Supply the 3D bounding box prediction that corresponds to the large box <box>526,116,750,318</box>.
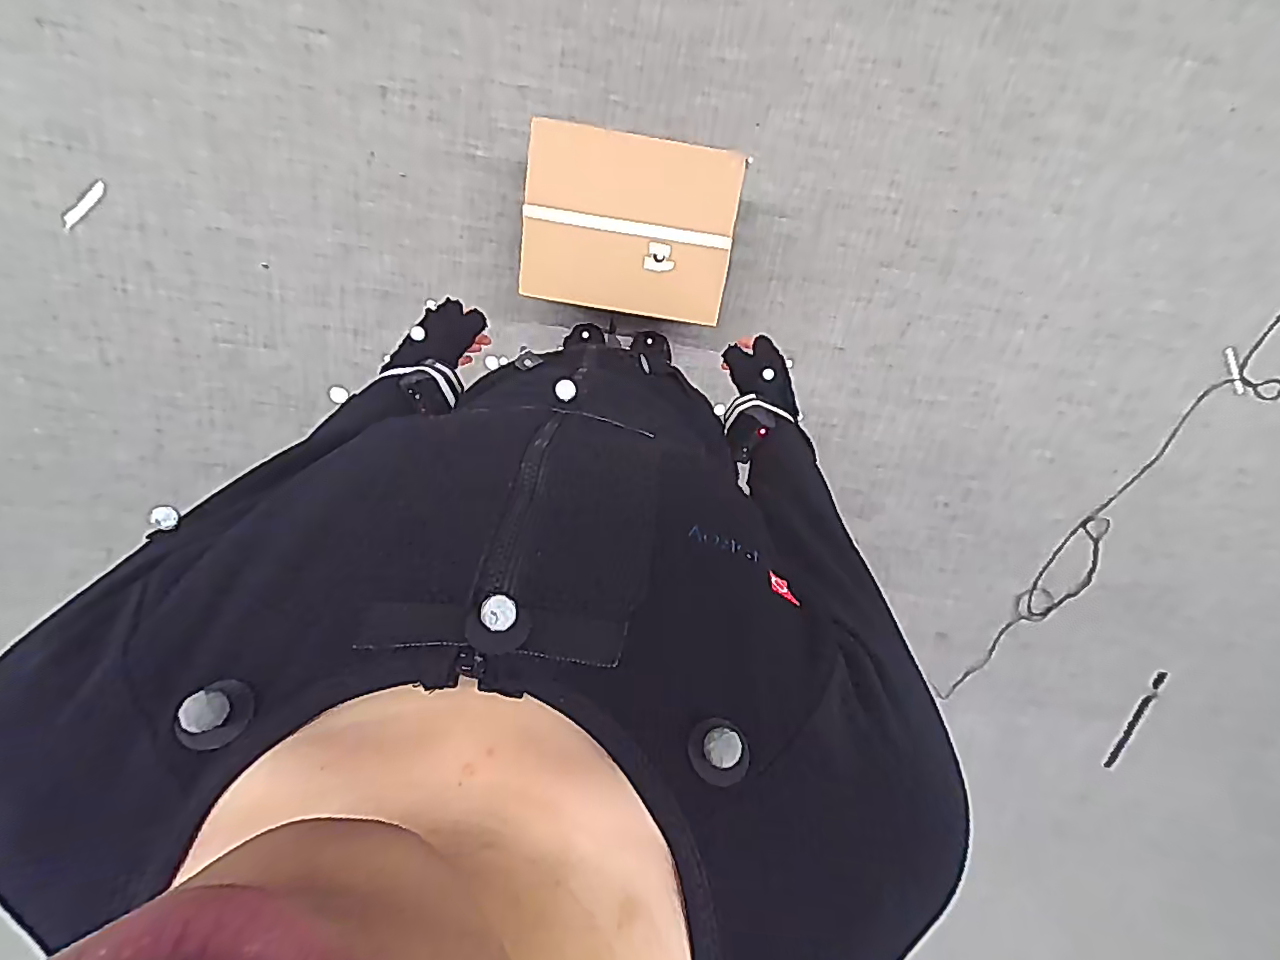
[{"bbox_3d":[-0.016,-0.541,1.175,0.408,0.320,0.320,8,109,-3],"label":"large box"}]
